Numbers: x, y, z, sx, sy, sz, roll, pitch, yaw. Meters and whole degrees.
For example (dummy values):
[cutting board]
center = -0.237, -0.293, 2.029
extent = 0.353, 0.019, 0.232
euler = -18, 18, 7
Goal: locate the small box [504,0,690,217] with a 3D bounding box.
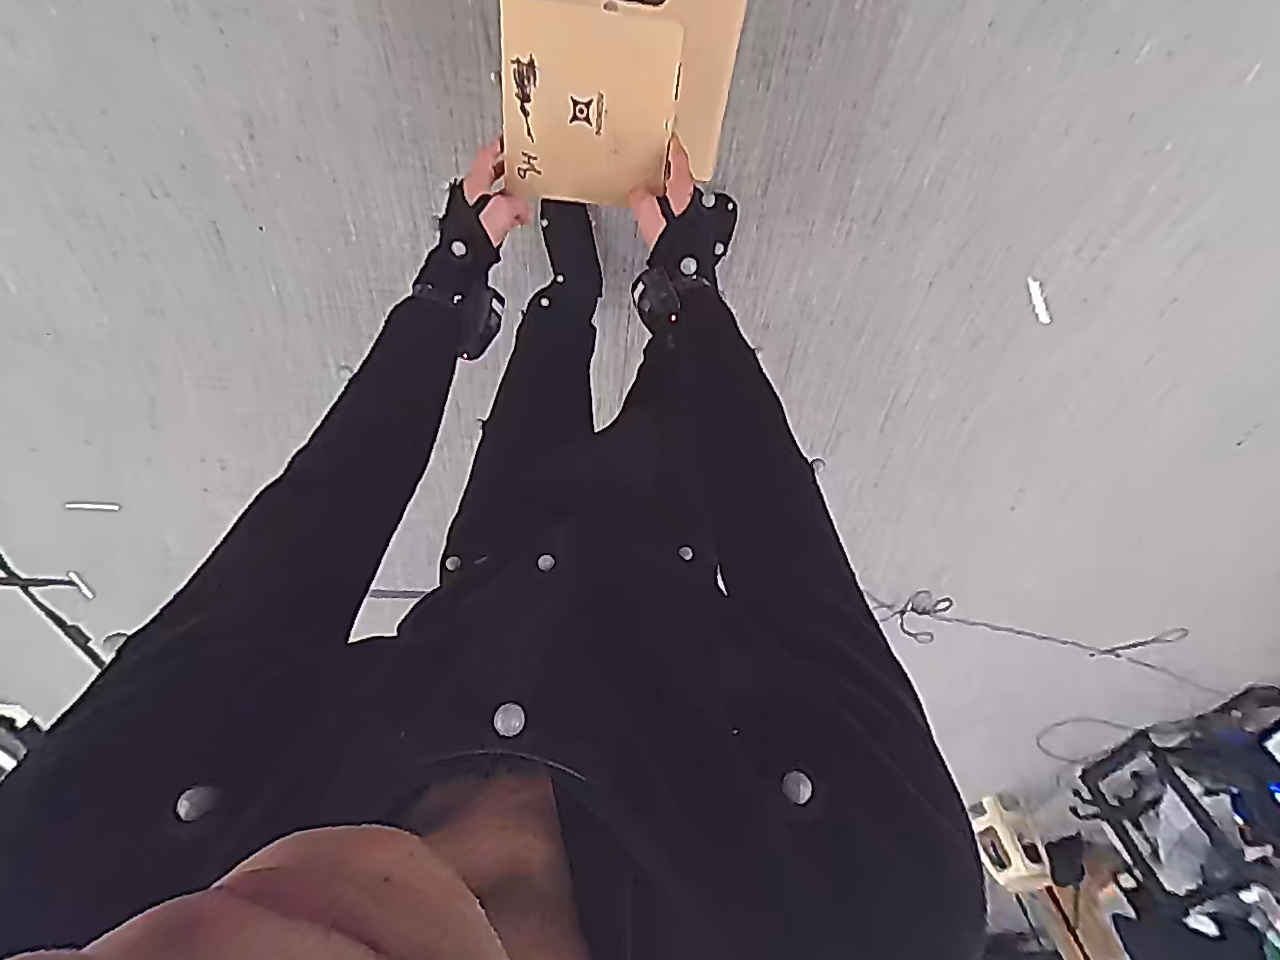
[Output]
[small box]
center = -0.056, -0.411, 0.608
extent = 0.179, 0.176, 0.168
euler = 2, 126, -9
